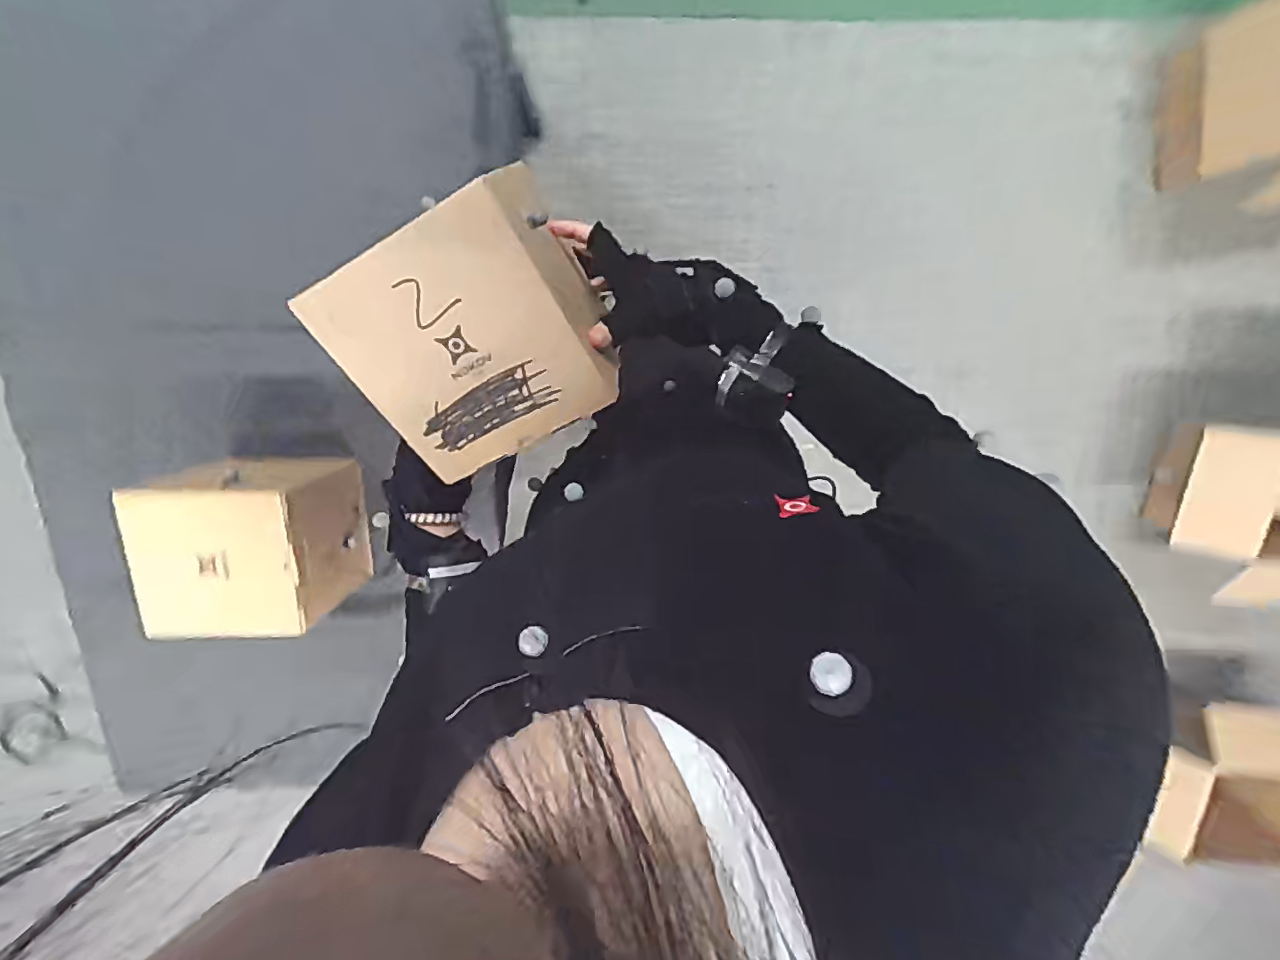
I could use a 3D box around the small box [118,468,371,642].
[{"bbox_3d":[-0.460,0.082,0.660,0.179,0.176,0.168,-1,103,-1],"label":"small box"}]
